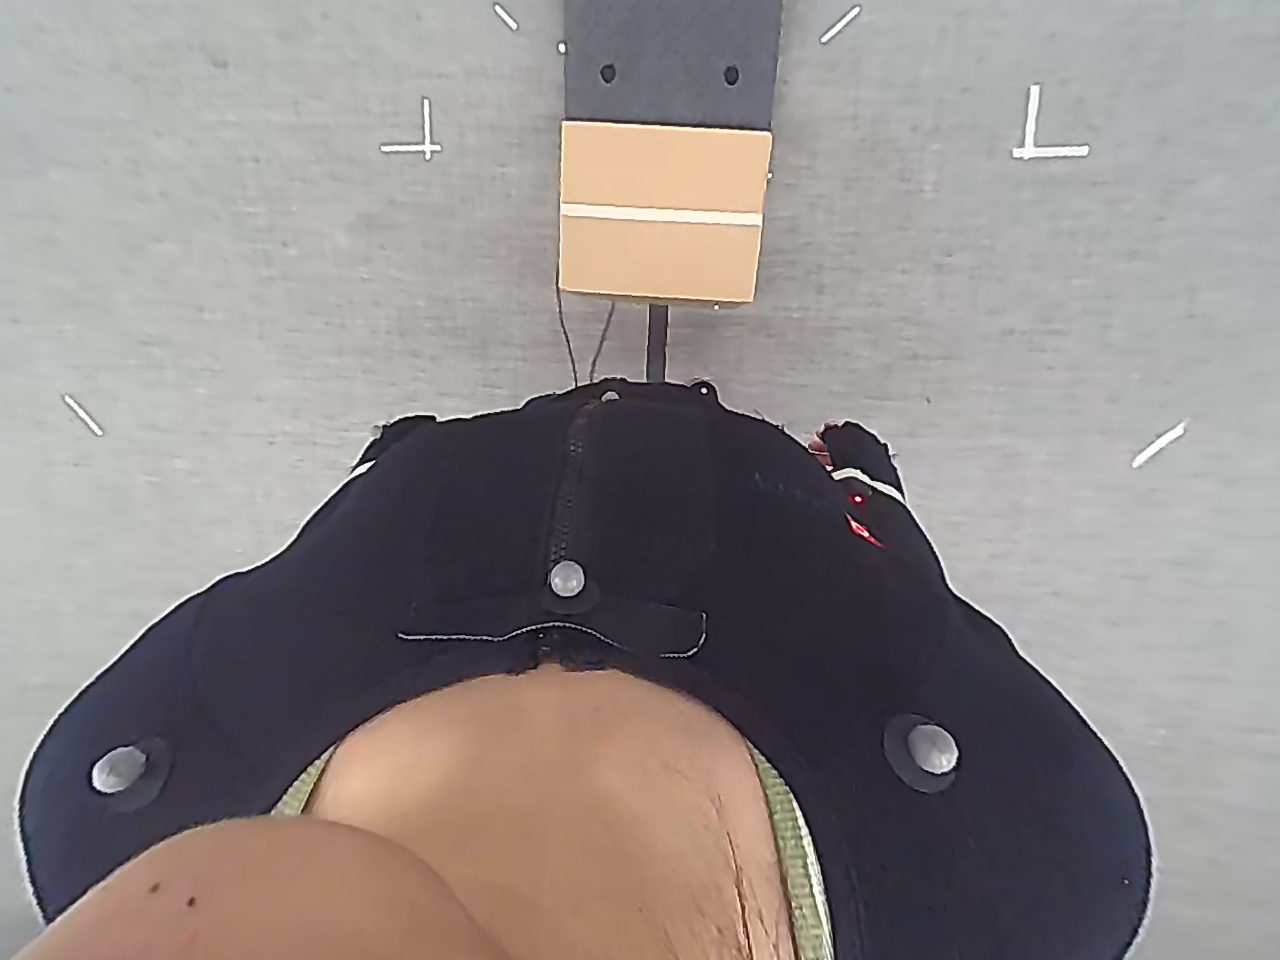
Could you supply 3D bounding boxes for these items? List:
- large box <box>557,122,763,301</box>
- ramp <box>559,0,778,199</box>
[{"bbox_3d":[0.040,-0.576,1.223,0.408,0.320,0.320,4,105,1],"label":"large box"},{"bbox_3d":[0.067,-1.148,1.179,0.509,0.206,0.991,1,101,1],"label":"ramp"}]
